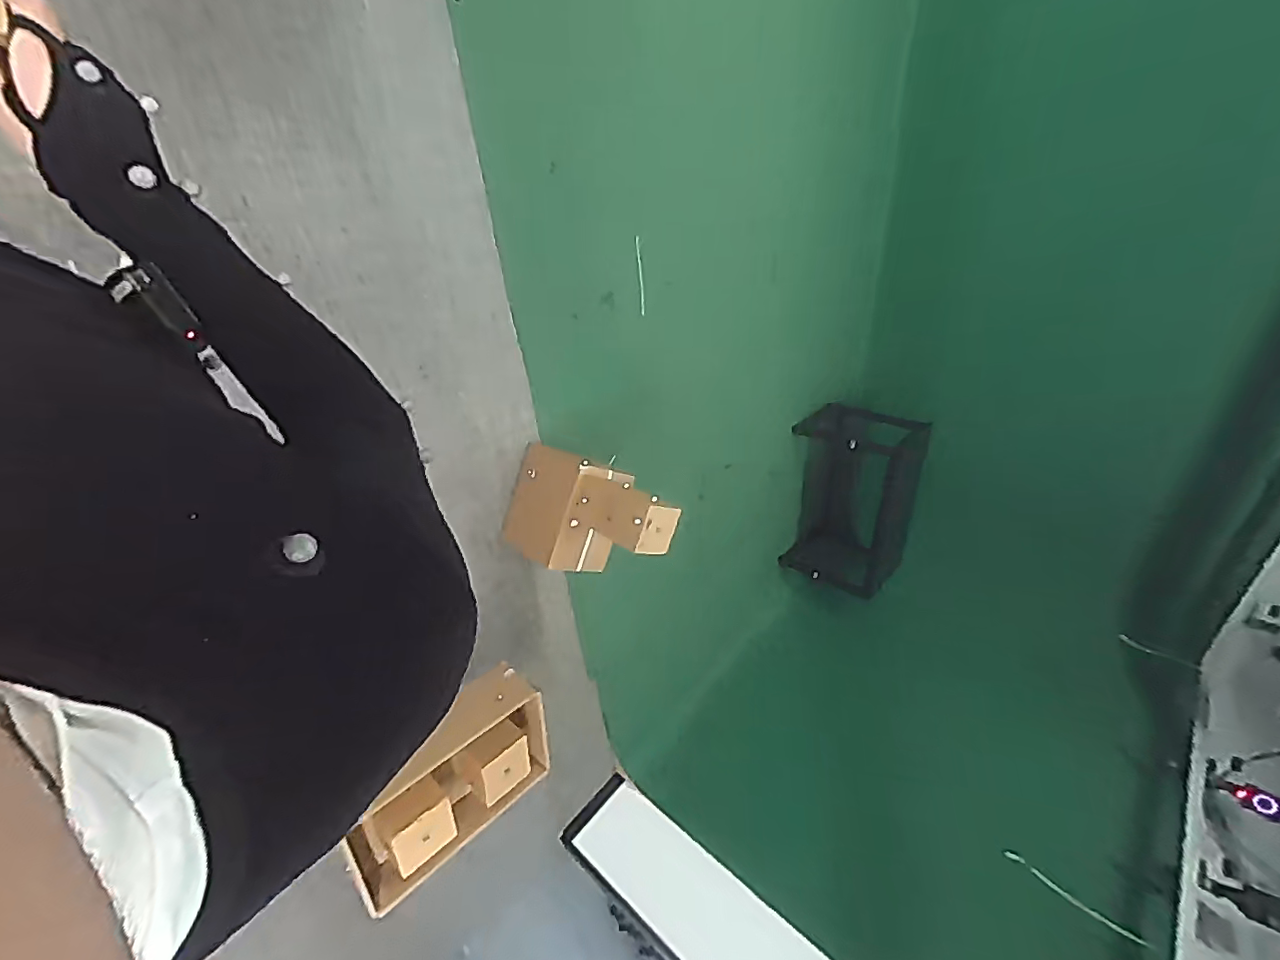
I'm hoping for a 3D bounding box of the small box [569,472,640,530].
[{"bbox_3d":[-0.122,0.080,1.935,0.179,0.176,0.168,12,98,-51],"label":"small box"}]

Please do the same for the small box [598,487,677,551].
[{"bbox_3d":[-0.009,0.130,1.827,0.179,0.176,0.168,11,99,-52],"label":"small box"}]

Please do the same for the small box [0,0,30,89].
[{"bbox_3d":[-0.550,-0.410,0.365,0.168,0.176,0.179,-7,105,-45],"label":"small box"}]

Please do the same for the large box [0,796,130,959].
[{"bbox_3d":[-1.442,1.017,1.201,0.408,0.320,0.320,-7,113,-50],"label":"large box"}]

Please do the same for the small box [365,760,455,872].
[{"bbox_3d":[-0.658,0.952,1.548,0.168,0.176,0.179,-26,125,-42],"label":"small box"}]
